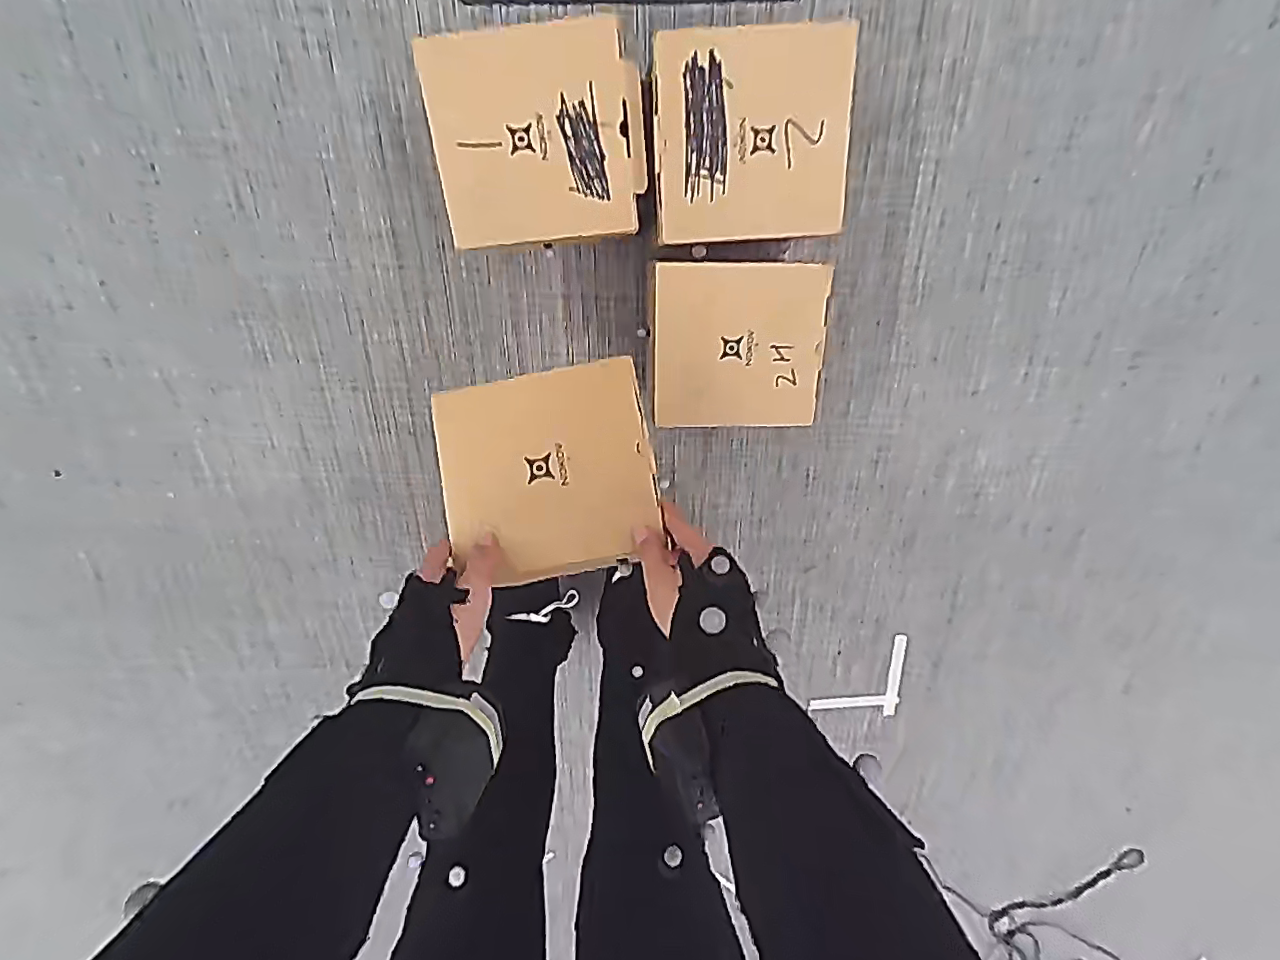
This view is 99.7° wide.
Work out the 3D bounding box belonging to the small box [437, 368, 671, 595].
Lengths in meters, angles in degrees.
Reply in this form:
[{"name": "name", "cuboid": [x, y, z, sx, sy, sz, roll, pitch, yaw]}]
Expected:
[{"name": "small box", "cuboid": [-0.070, 0.014, 0.522, 0.179, 0.176, 0.168, -12, 79, 1]}]
